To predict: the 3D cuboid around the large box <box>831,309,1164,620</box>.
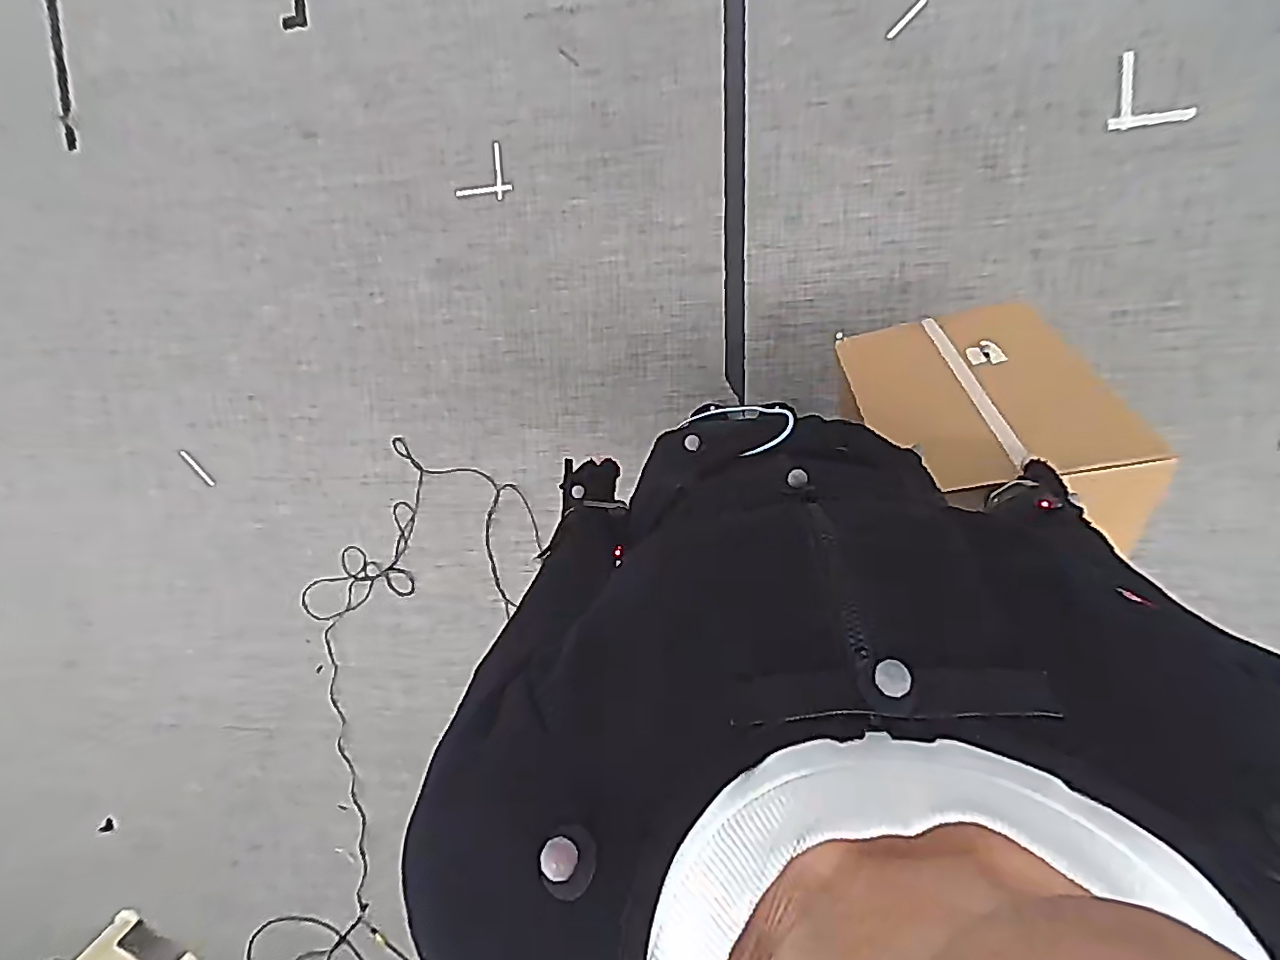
[{"bbox_3d":[0.537,-0.029,0.920,0.320,0.408,0.320,-10,132,12],"label":"large box"}]
